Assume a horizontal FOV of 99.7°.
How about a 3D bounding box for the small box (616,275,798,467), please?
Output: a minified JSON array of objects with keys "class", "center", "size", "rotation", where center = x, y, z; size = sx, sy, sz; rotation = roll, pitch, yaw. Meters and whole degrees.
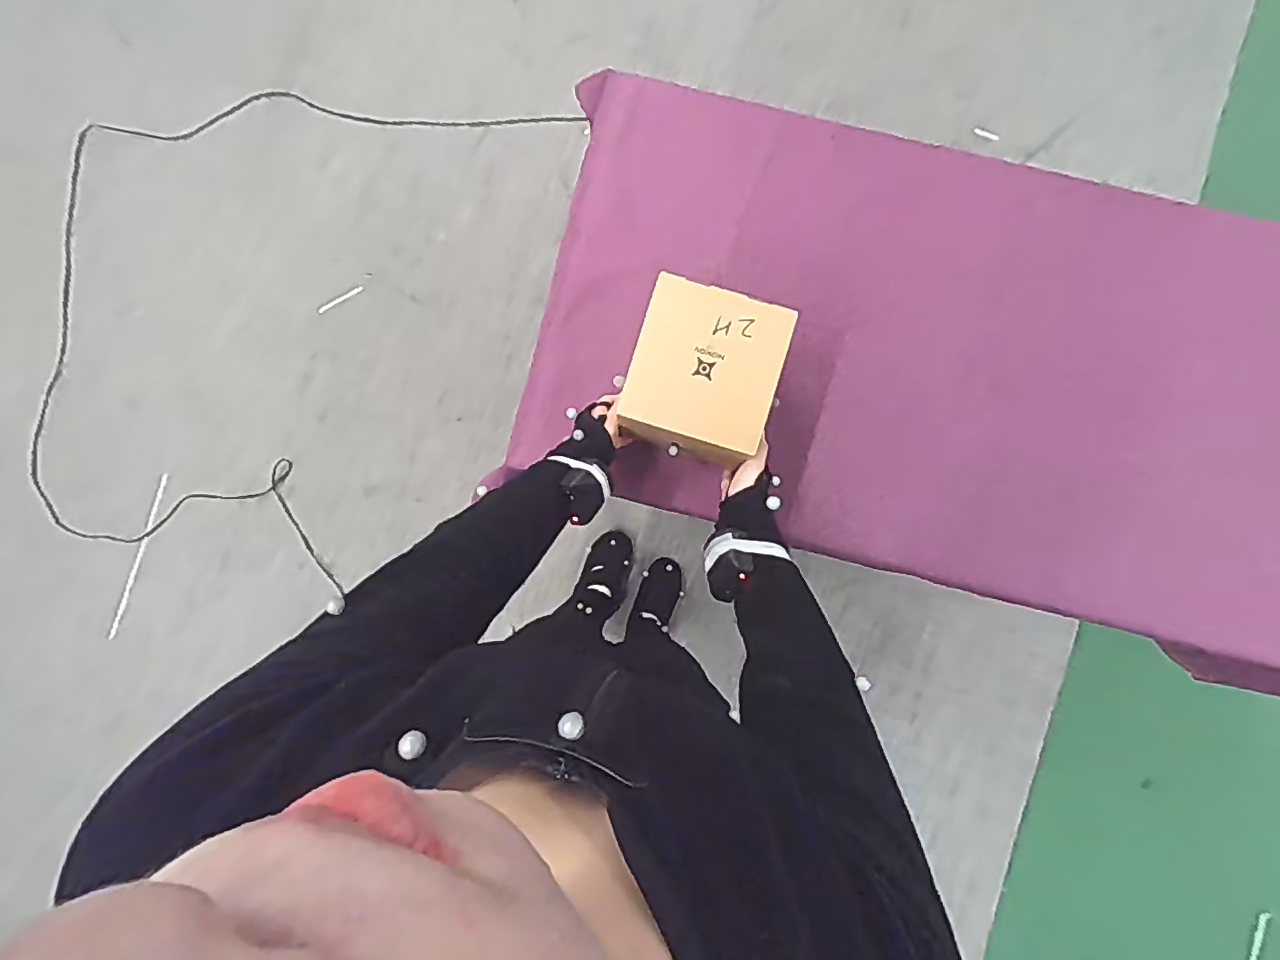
[{"class":"small box","center":[0.078,-0.122,0.686],"size":[0.168,0.176,0.179],"rotation":[18,87,2]}]
